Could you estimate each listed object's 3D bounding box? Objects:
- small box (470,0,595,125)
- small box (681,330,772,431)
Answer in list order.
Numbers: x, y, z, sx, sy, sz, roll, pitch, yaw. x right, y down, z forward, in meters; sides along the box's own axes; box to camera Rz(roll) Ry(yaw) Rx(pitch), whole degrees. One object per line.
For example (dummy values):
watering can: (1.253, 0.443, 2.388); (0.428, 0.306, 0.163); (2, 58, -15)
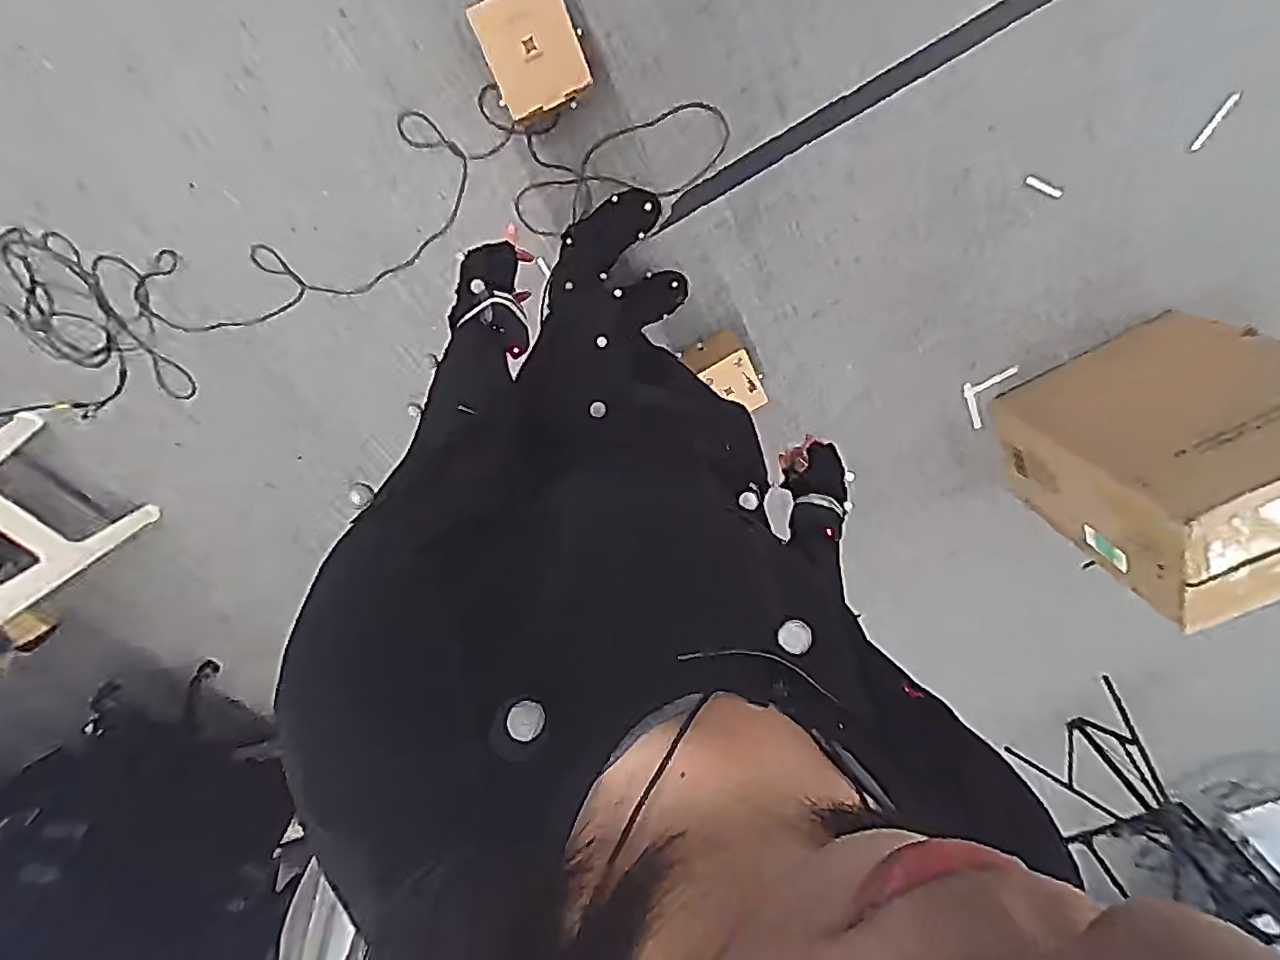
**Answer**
small box: (-0.194, -0.804, 1.029); (0.168, 0.176, 0.179); (-23, 118, 6)
small box: (0.217, -0.264, 1.413); (0.179, 0.176, 0.168); (-27, 121, 12)
